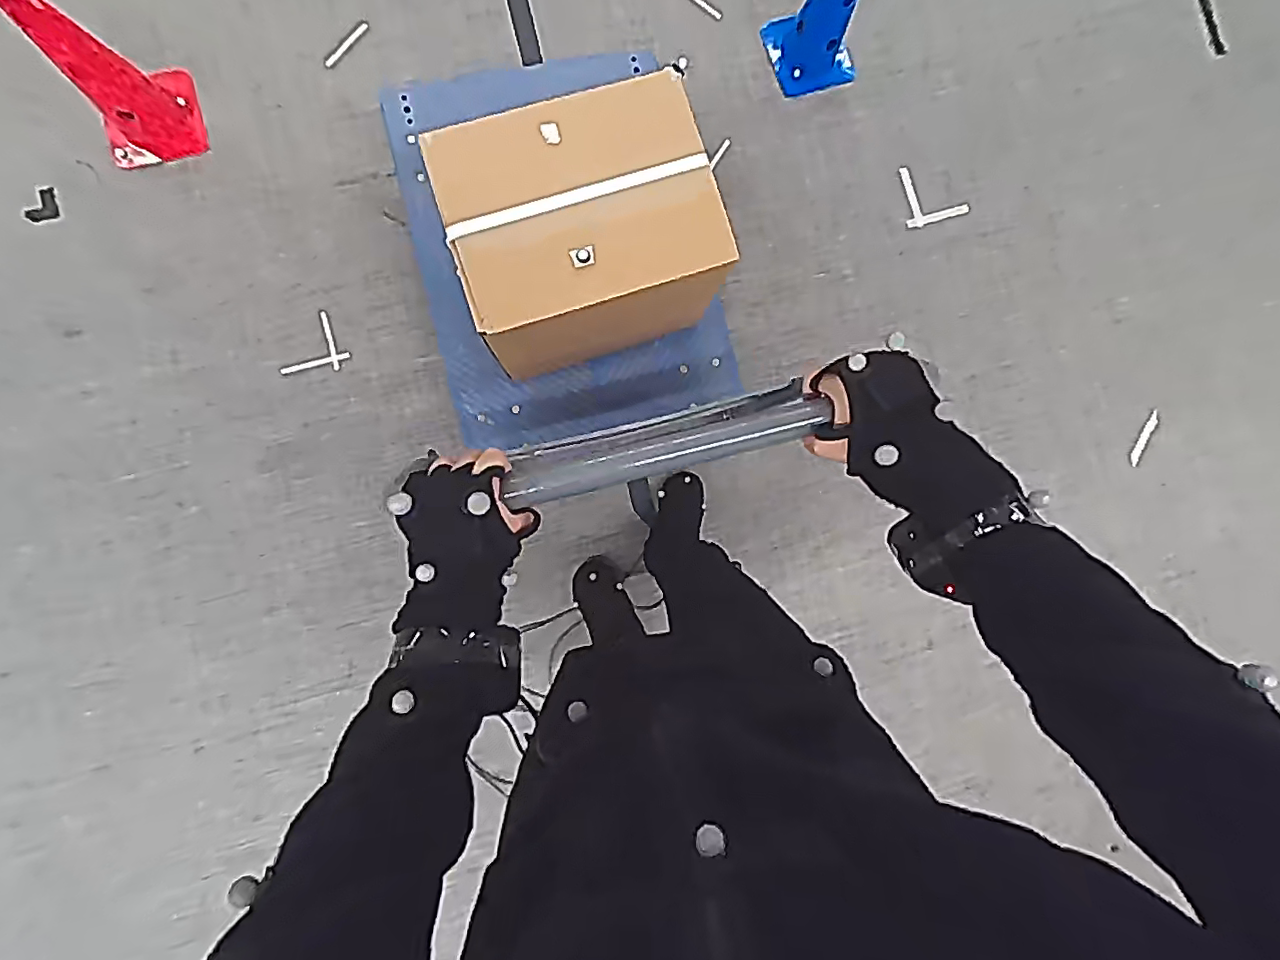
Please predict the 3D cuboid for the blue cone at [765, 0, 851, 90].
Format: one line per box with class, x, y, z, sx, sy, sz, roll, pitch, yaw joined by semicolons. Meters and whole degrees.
blue cone;0.439;-1.090;1.196;0.193;0.380;0.192;-19;88;-6
